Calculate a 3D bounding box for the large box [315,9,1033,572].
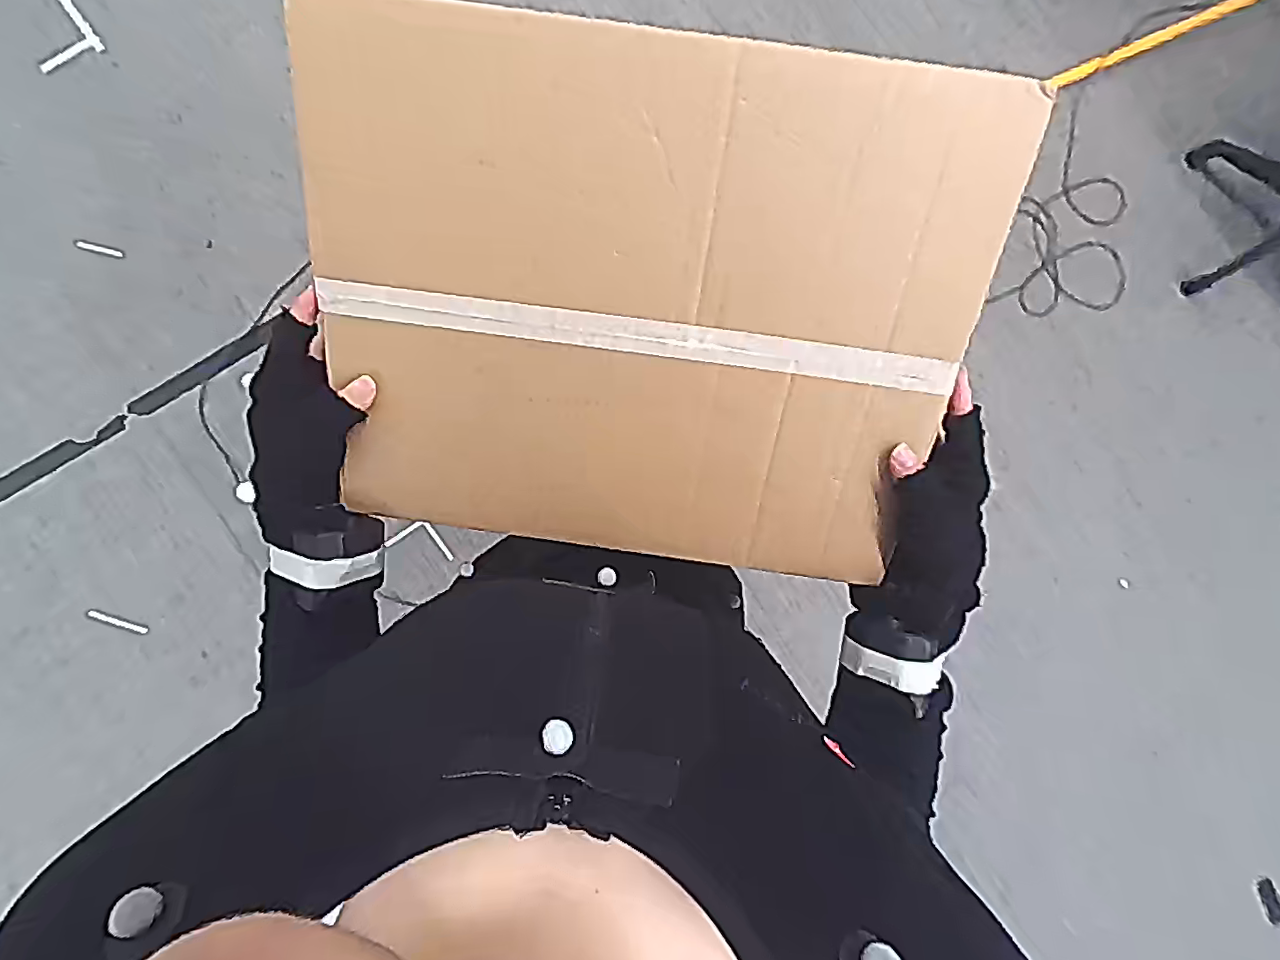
[{"bbox_3d":[0.007,-0.151,0.488,0.408,0.320,0.320,8,115,0],"label":"large box"}]
